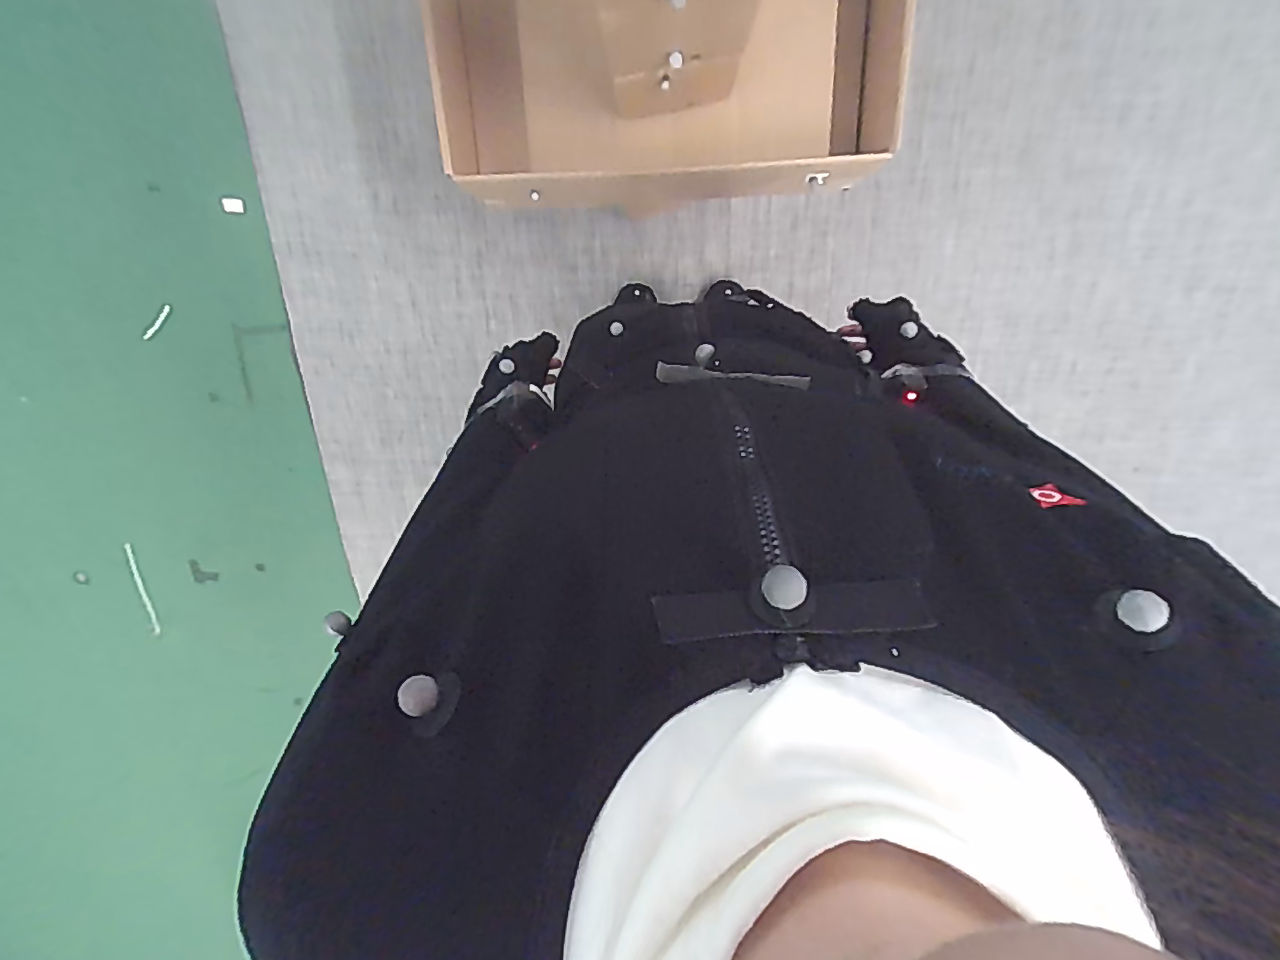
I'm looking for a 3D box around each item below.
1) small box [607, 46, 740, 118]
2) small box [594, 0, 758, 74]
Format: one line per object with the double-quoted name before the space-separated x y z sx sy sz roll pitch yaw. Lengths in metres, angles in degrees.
"small box" 0.036 -0.621 0.723 0.168 0.176 0.179 -7 108 6
"small box" 0.030 -0.569 0.567 0.168 0.176 0.179 -6 110 5
